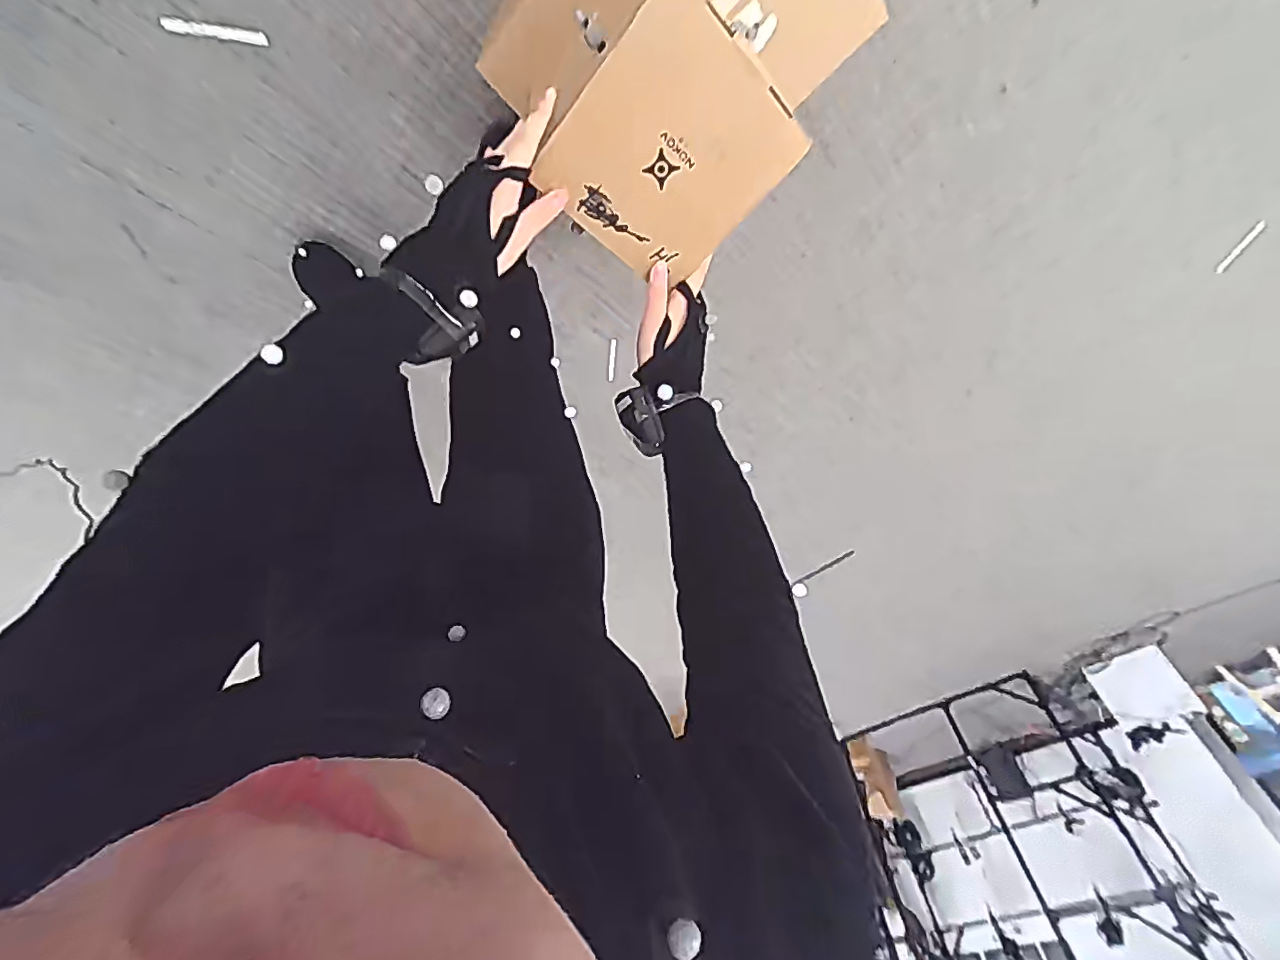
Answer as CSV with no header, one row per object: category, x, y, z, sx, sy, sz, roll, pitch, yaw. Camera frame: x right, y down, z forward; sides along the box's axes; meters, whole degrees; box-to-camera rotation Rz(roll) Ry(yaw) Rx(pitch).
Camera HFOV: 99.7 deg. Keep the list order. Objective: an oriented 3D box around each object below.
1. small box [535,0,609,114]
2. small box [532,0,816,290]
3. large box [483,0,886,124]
small box,0.000,-0.438,0.596,0.179,0.176,0.168,-36,130,27
small box,0.018,-0.319,0.486,0.168,0.176,0.179,30,124,-33
large box,0.034,-0.643,0.745,0.408,0.320,0.320,-36,133,25
